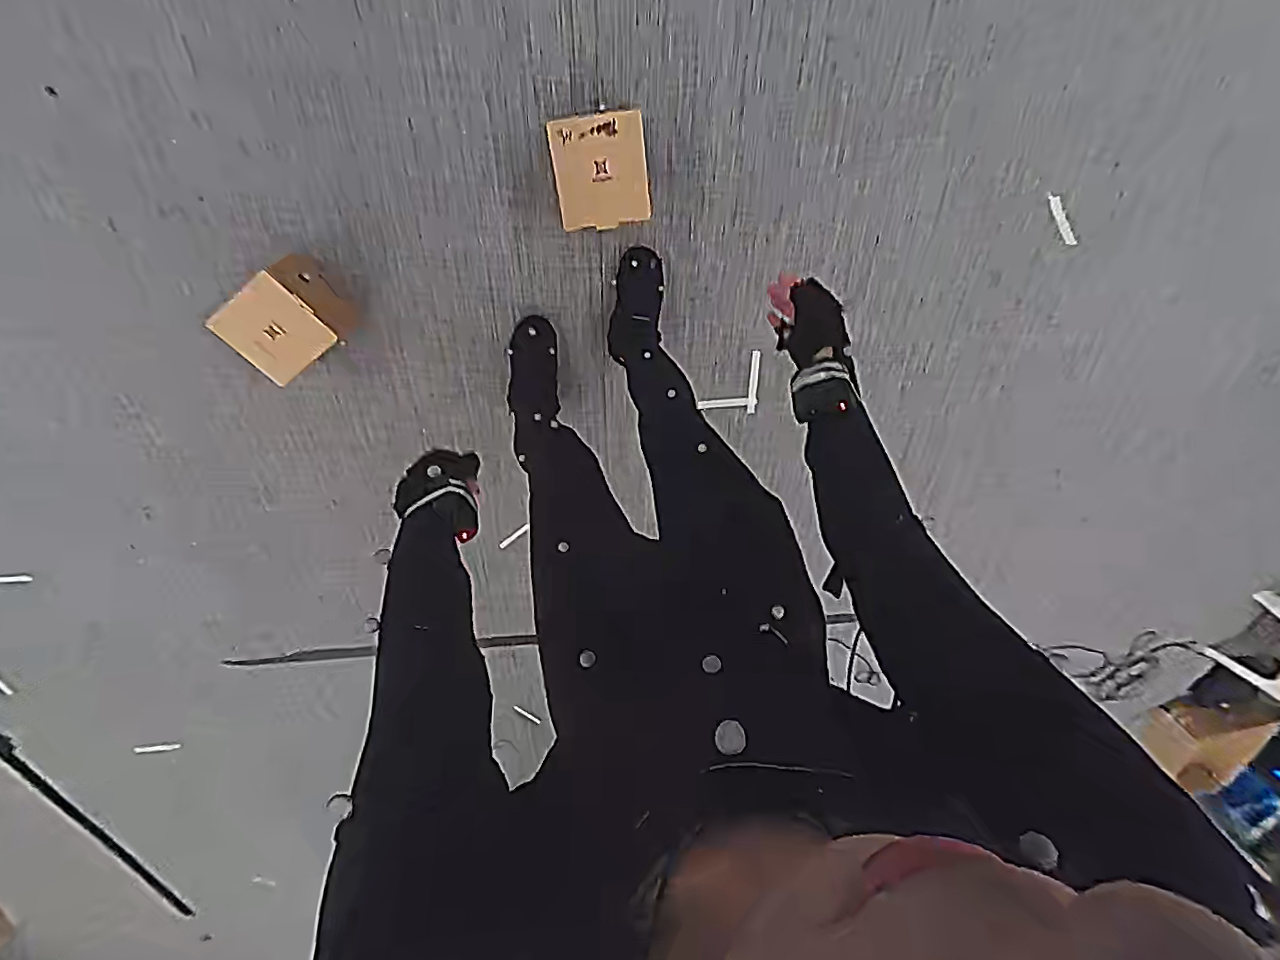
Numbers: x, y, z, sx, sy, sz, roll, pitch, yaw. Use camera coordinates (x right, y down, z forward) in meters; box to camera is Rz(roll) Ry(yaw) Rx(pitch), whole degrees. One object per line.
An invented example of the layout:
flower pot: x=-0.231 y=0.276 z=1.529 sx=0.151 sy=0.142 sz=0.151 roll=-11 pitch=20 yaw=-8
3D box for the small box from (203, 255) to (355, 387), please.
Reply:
small box: x=-0.711 y=-0.327 z=1.094 sx=0.179 sy=0.176 sz=0.168 roll=-33 pitch=120 yaw=14

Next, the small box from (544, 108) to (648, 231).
small box: x=-0.080 y=-0.586 z=1.014 sx=0.168 sy=0.176 sz=0.179 roll=-9 pitch=125 yaw=-3
